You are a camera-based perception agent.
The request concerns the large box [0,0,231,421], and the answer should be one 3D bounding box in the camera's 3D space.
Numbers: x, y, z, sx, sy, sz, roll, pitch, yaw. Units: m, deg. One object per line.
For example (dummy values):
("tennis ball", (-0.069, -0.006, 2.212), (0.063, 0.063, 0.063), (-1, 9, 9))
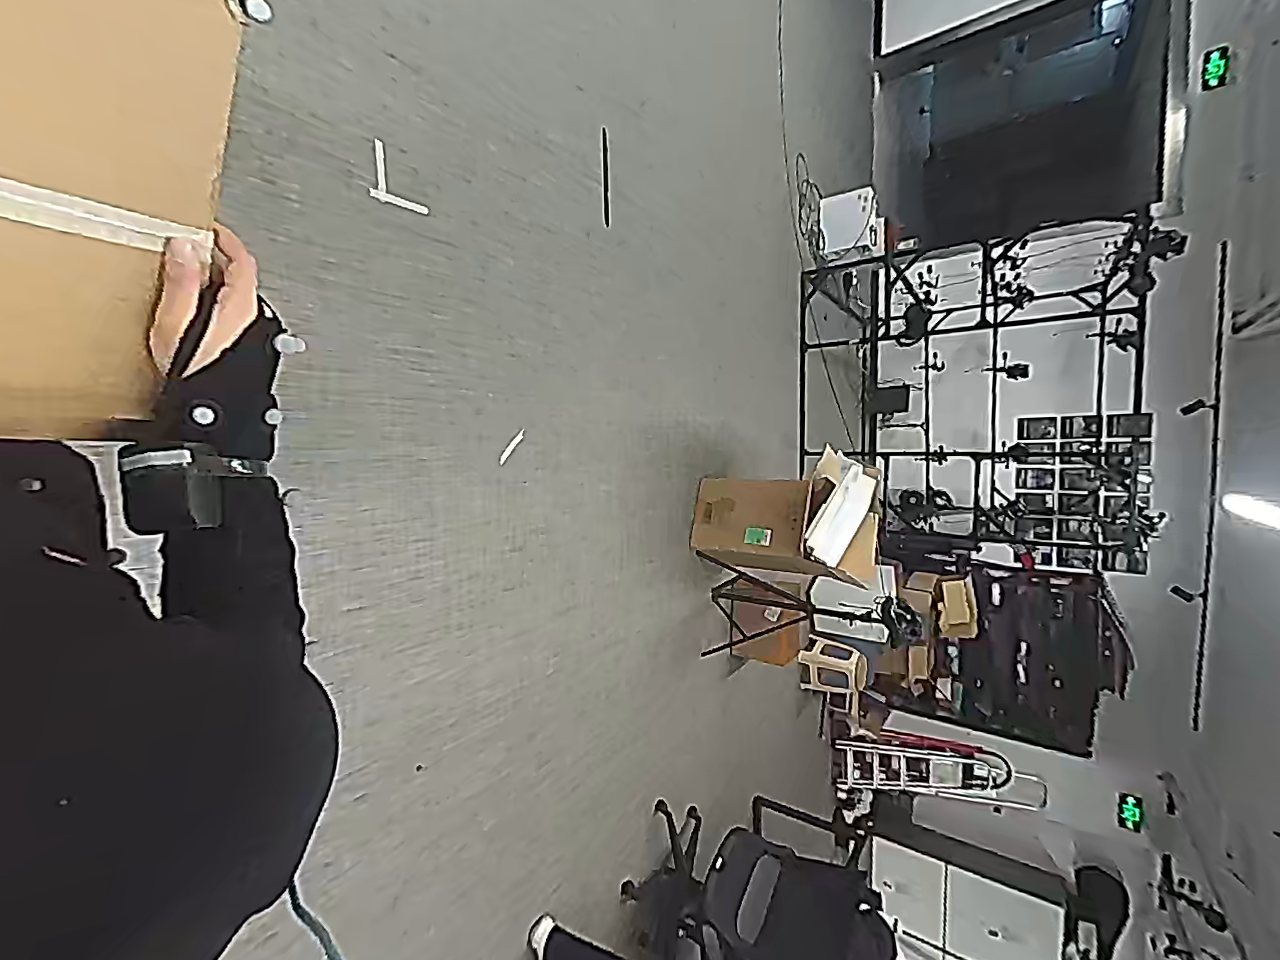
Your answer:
("large box", (-0.525, -0.243, 0.286), (0.408, 0.320, 0.320), (-5, 130, -54))
